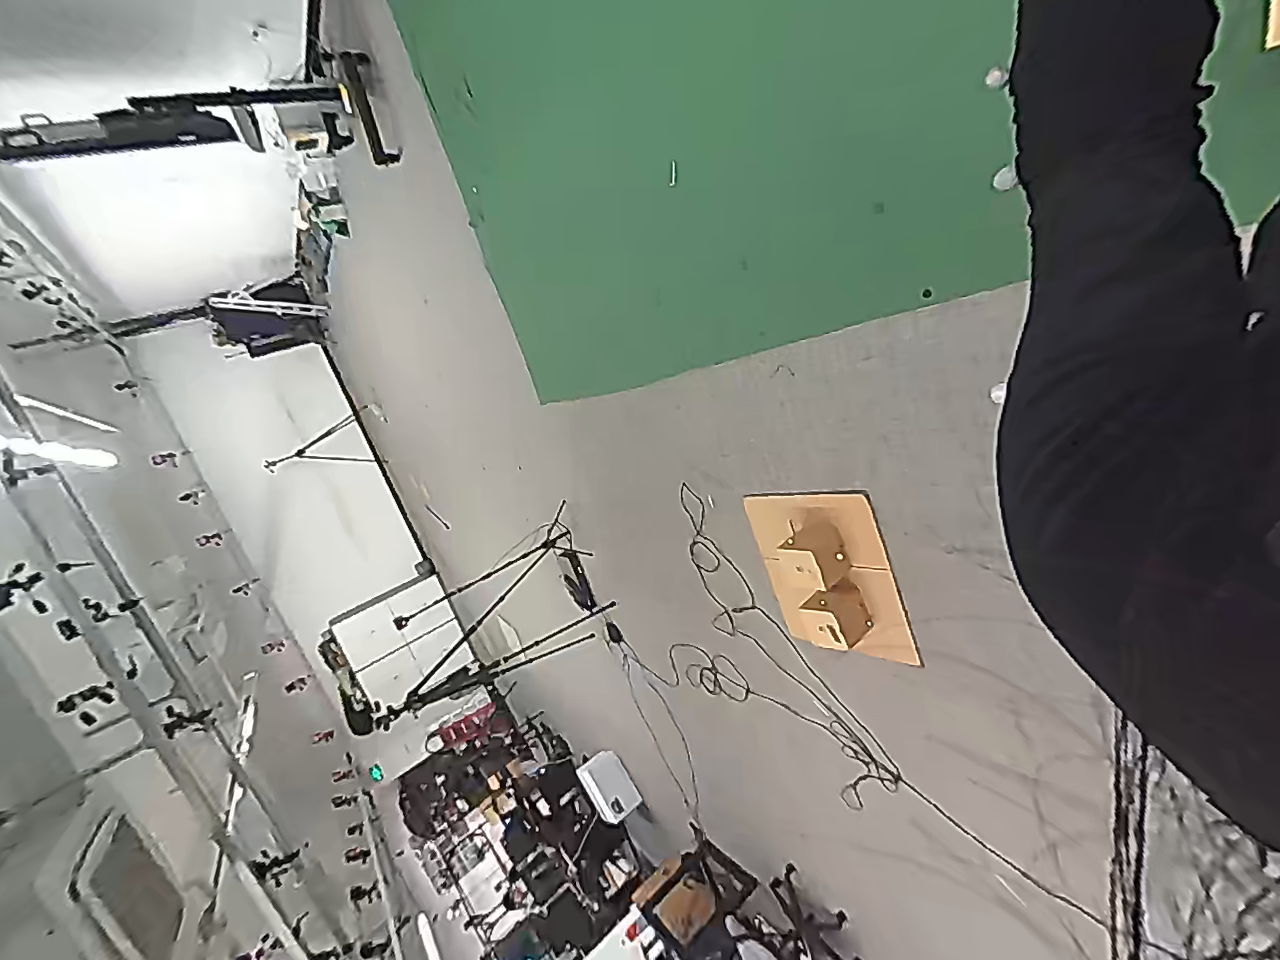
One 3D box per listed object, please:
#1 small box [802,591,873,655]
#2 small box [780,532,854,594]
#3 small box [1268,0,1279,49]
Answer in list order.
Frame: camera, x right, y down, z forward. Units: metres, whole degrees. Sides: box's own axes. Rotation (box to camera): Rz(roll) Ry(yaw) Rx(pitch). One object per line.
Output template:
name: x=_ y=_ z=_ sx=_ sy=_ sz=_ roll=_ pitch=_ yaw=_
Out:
small box: x=0.757 y=0.536 z=2.053 sx=0.179 sy=0.176 sz=0.168 roll=-14 pitch=102 yaw=59
small box: x=0.663 y=0.304 z=2.020 sx=0.179 sy=0.176 sz=0.168 roll=-6 pitch=110 yaw=57
small box: x=1.008 y=-0.717 z=0.733 sx=0.179 sy=0.176 sz=0.168 roll=11 pitch=122 yaw=53
